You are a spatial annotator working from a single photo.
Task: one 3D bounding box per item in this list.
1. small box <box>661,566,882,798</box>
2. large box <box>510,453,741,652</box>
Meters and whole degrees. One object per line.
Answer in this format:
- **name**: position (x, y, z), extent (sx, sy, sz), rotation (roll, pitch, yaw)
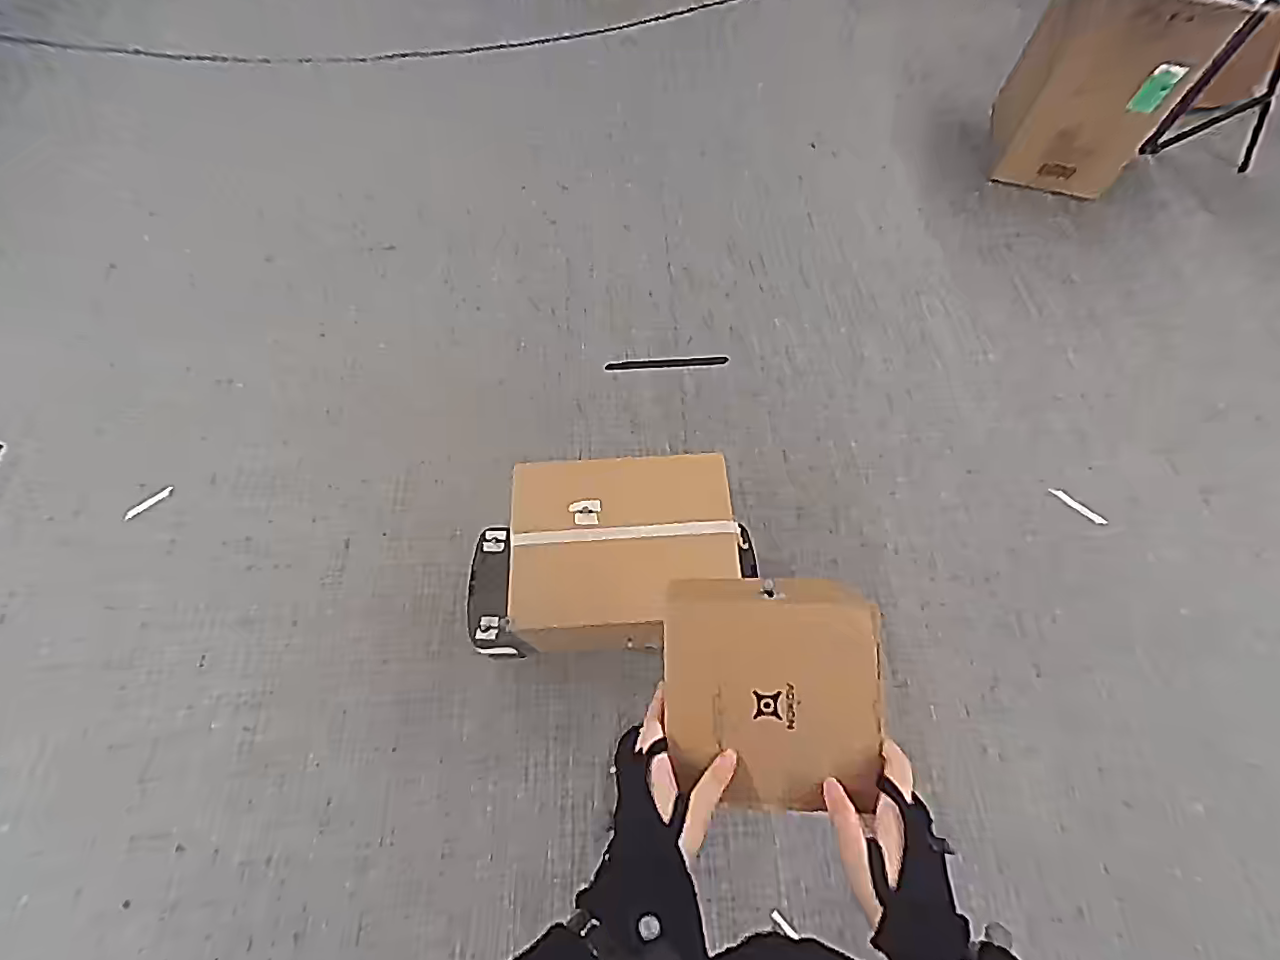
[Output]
- **small box**: position (0.111, 0.173, 0.516), extent (0.179, 0.176, 0.168), rotation (1, 86, 4)
- **large box**: position (-0.025, 0.161, 1.095), extent (0.408, 0.320, 0.320), rotation (-4, 65, 0)
